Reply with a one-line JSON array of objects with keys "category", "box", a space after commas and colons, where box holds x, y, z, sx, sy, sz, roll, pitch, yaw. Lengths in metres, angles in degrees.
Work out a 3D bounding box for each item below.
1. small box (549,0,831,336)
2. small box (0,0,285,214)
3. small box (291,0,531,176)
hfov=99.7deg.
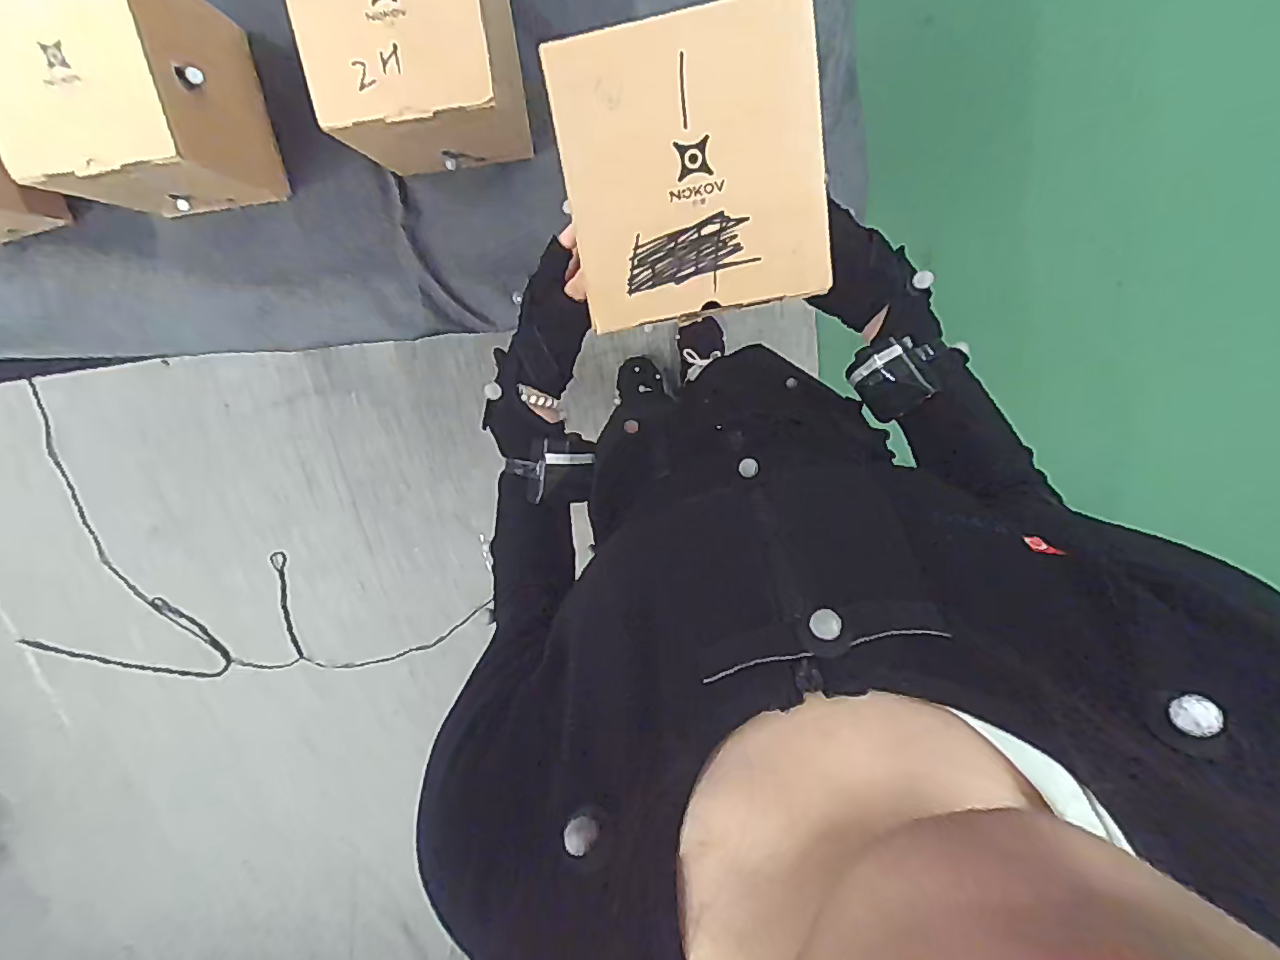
[{"category": "small box", "box": [0.041, -0.220, 0.424, 0.168, 0.176, 0.179, -9, 107, 5]}, {"category": "small box", "box": [-0.510, -0.390, 0.551, 0.168, 0.176, 0.179, -7, 107, 2]}, {"category": "small box", "box": [-0.214, -0.428, 0.537, 0.168, 0.176, 0.179, -6, 107, 2]}]
